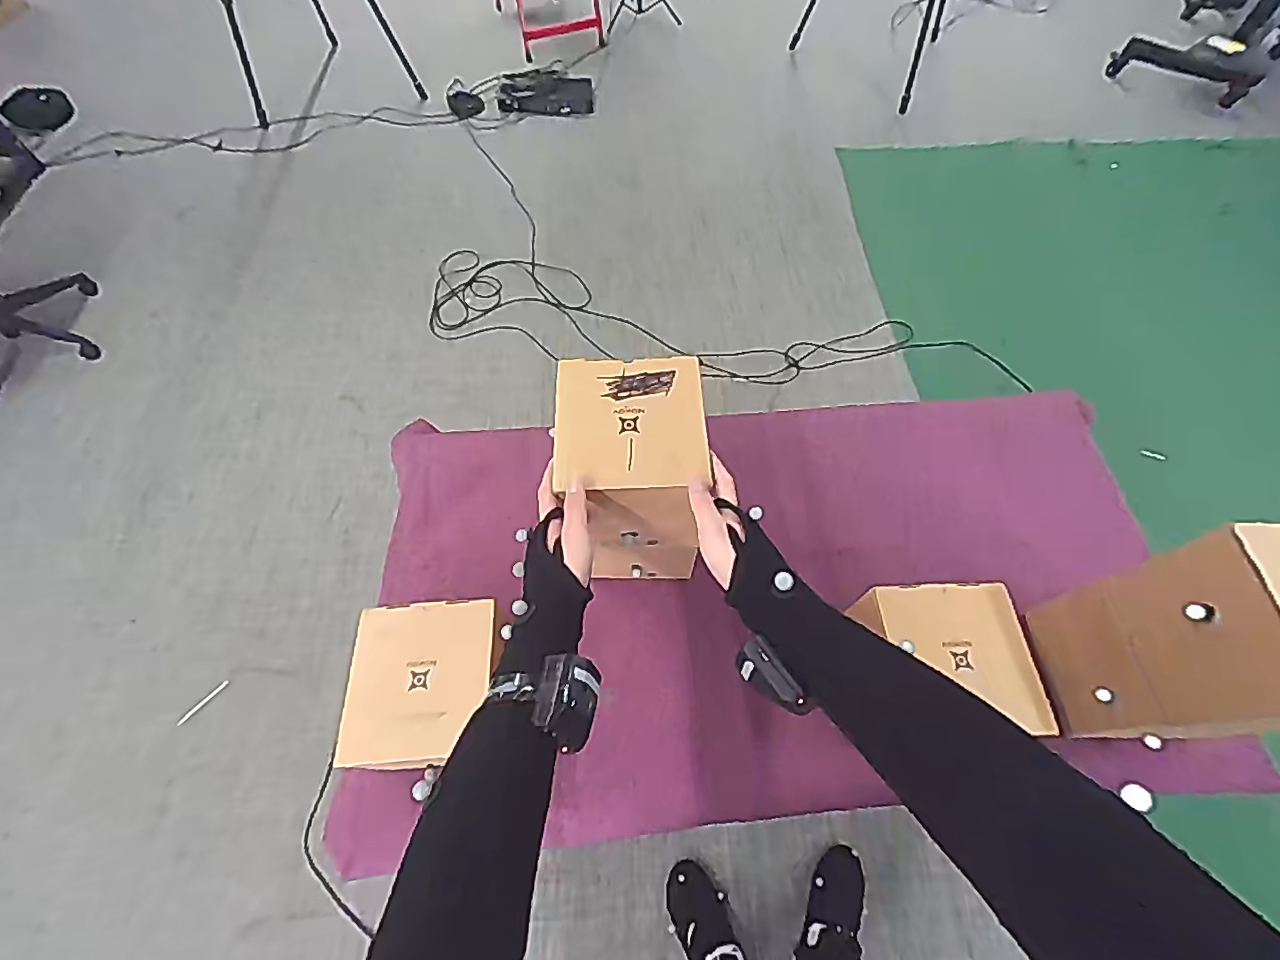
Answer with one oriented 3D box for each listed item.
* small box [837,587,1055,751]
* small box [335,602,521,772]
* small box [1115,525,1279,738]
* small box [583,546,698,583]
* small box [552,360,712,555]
[{"bbox_3d":[0.373,0.250,0.701,0.168,0.176,0.179,-2,59,0],"label":"small box"},{"bbox_3d":[-0.253,0.269,0.695,0.168,0.176,0.179,-4,61,-1],"label":"small box"},{"bbox_3d":[0.655,0.160,0.555,0.168,0.176,0.179,-1,60,2],"label":"small box"},{"bbox_3d":[-0.001,0.043,0.817,0.168,0.176,0.179,1,62,1],"label":"small box"},{"bbox_3d":[-0.009,-0.022,0.656,0.168,0.176,0.179,-3,61,1],"label":"small box"}]
